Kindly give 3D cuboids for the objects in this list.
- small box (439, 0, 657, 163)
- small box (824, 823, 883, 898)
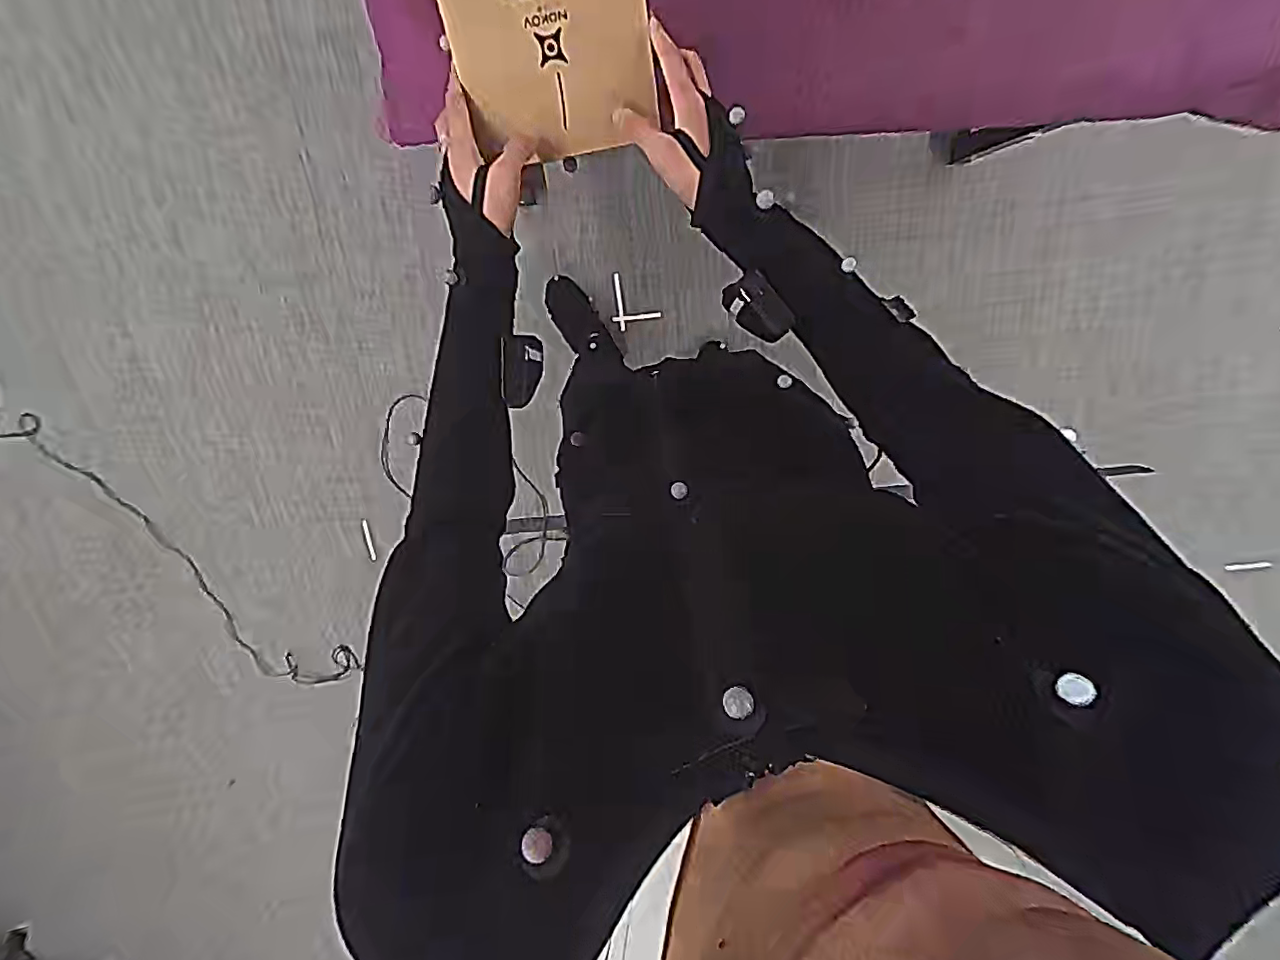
[{"bbox_3d":[-0.085,-0.410,0.505,0.168,0.176,0.179,-10,124,0],"label":"small box"},{"bbox_3d":[0.851,1.518,2.161,0.168,0.176,0.179,-12,109,1],"label":"small box"}]
